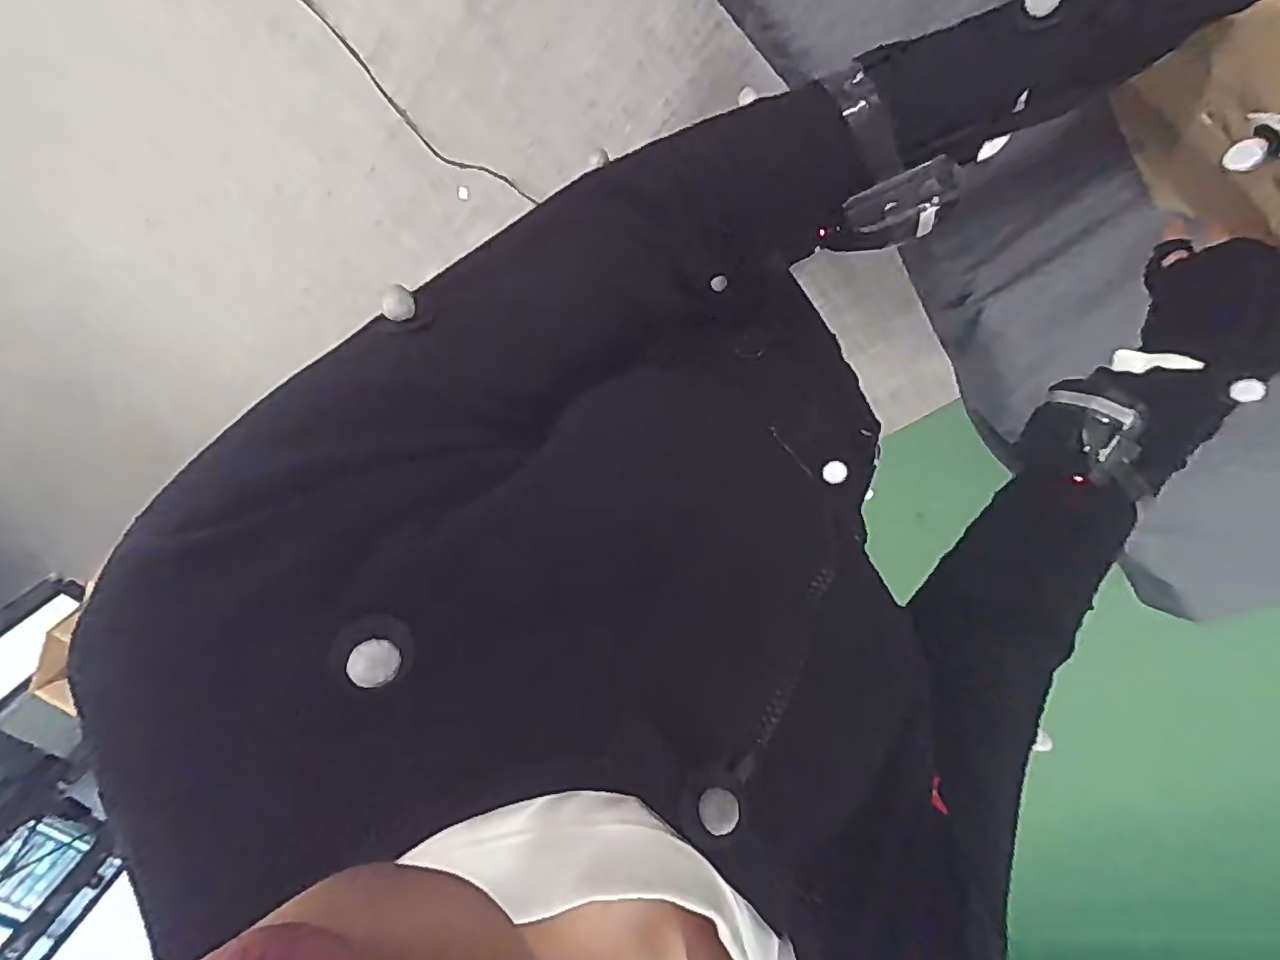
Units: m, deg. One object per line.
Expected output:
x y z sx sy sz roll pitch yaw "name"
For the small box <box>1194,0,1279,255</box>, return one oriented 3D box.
0.383 -0.176 0.200 0.179 0.176 0.168 -33 110 35 "small box"
